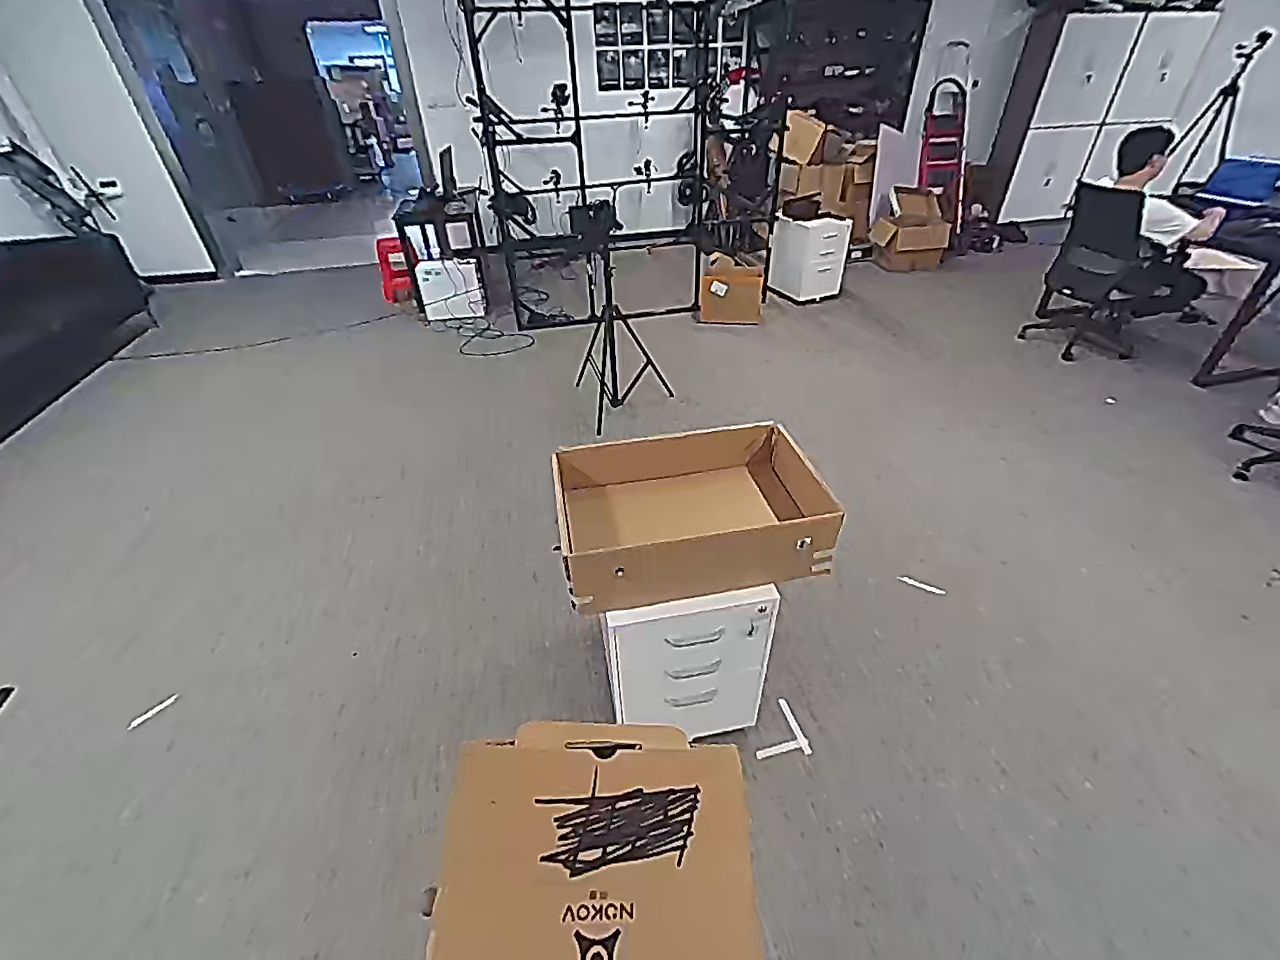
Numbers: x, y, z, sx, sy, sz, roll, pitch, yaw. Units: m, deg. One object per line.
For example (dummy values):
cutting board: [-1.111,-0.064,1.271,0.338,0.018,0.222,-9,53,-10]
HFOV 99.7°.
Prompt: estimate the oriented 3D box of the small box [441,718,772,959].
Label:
small box: [-0.028,0.260,0.339,0.168,0.176,0.179,5,57,-8]
